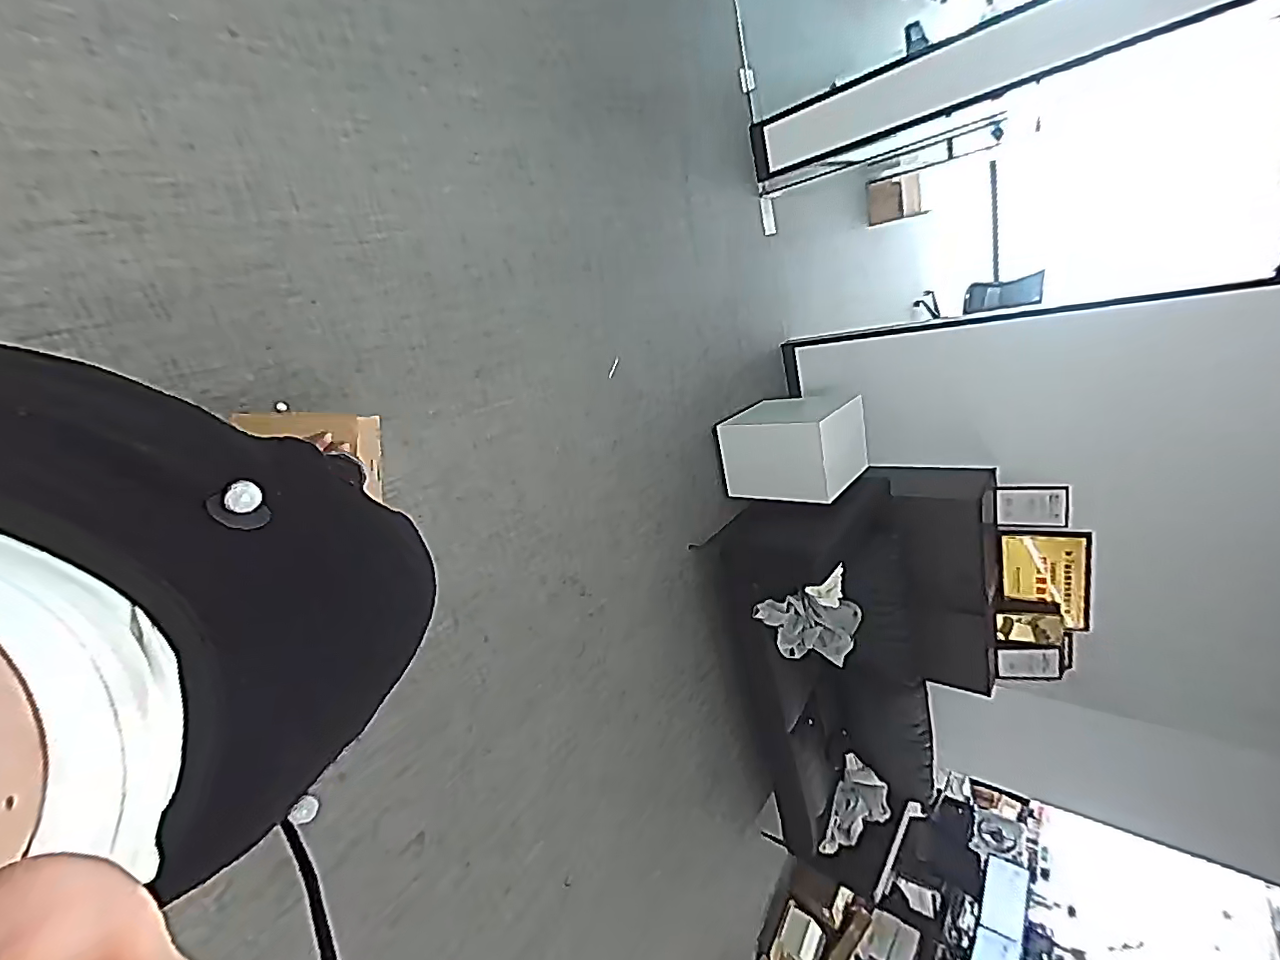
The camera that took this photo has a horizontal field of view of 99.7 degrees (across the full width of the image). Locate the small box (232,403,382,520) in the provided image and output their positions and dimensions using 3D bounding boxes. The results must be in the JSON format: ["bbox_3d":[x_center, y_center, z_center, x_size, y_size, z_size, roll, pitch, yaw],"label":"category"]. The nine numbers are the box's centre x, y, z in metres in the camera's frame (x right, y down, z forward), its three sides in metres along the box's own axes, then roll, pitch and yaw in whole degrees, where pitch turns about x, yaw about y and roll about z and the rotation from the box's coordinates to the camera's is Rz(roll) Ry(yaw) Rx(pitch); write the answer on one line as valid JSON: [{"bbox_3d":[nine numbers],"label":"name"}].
[{"bbox_3d":[-0.534,-0.037,0.878,0.176,0.179,0.168,-3,102,-15],"label":"small box"}]
